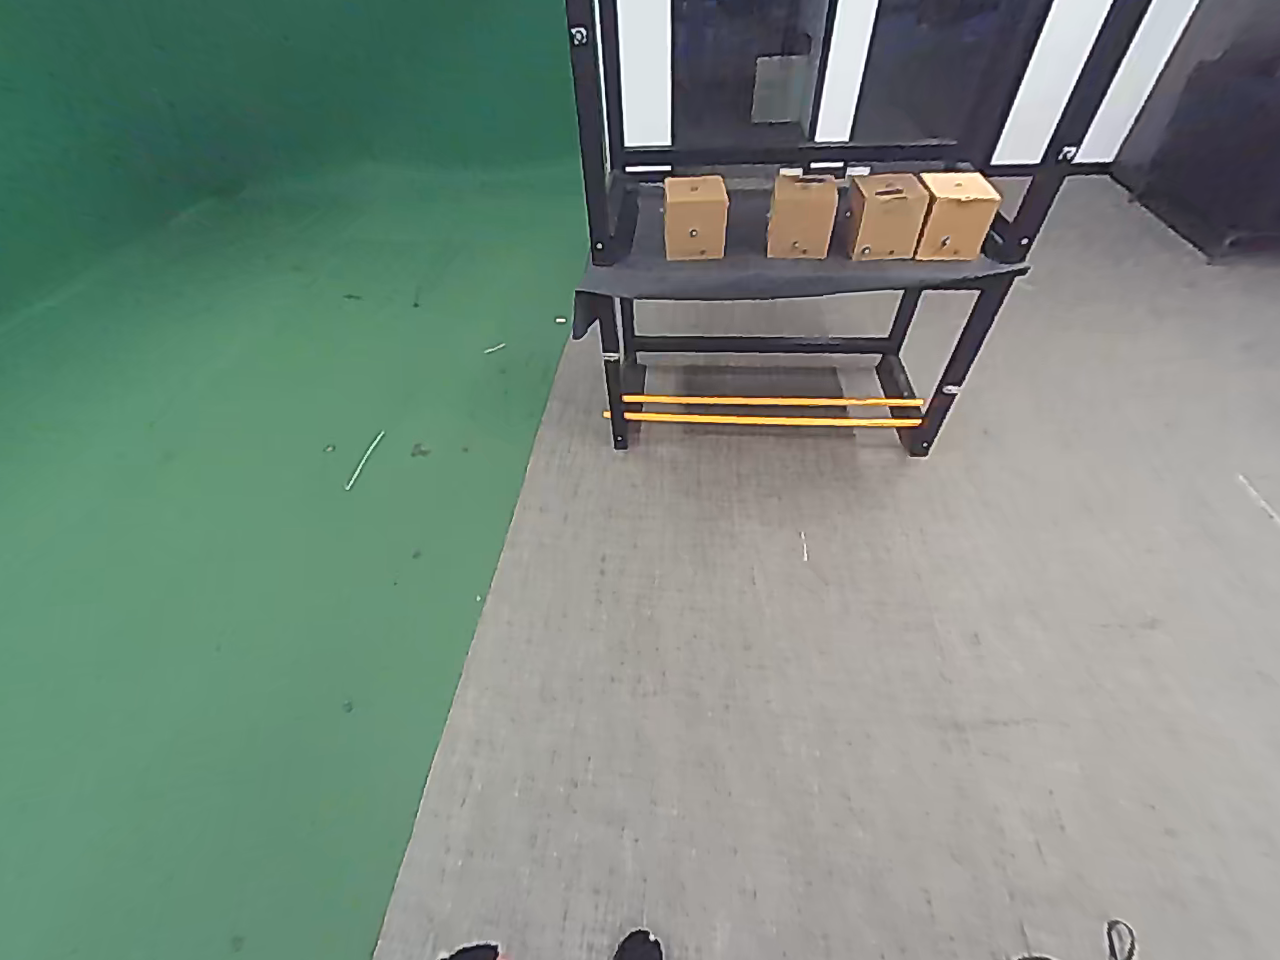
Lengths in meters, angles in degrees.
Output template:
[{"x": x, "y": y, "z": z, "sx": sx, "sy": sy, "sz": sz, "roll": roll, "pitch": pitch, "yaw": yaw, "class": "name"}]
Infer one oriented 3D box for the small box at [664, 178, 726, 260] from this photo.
[{"x": 0.155, "y": -0.755, "z": 1.572, "sx": 0.168, "sy": 0.176, "sz": 0.179, "roll": -1, "pitch": 47, "yaw": 1, "class": "small box"}]
